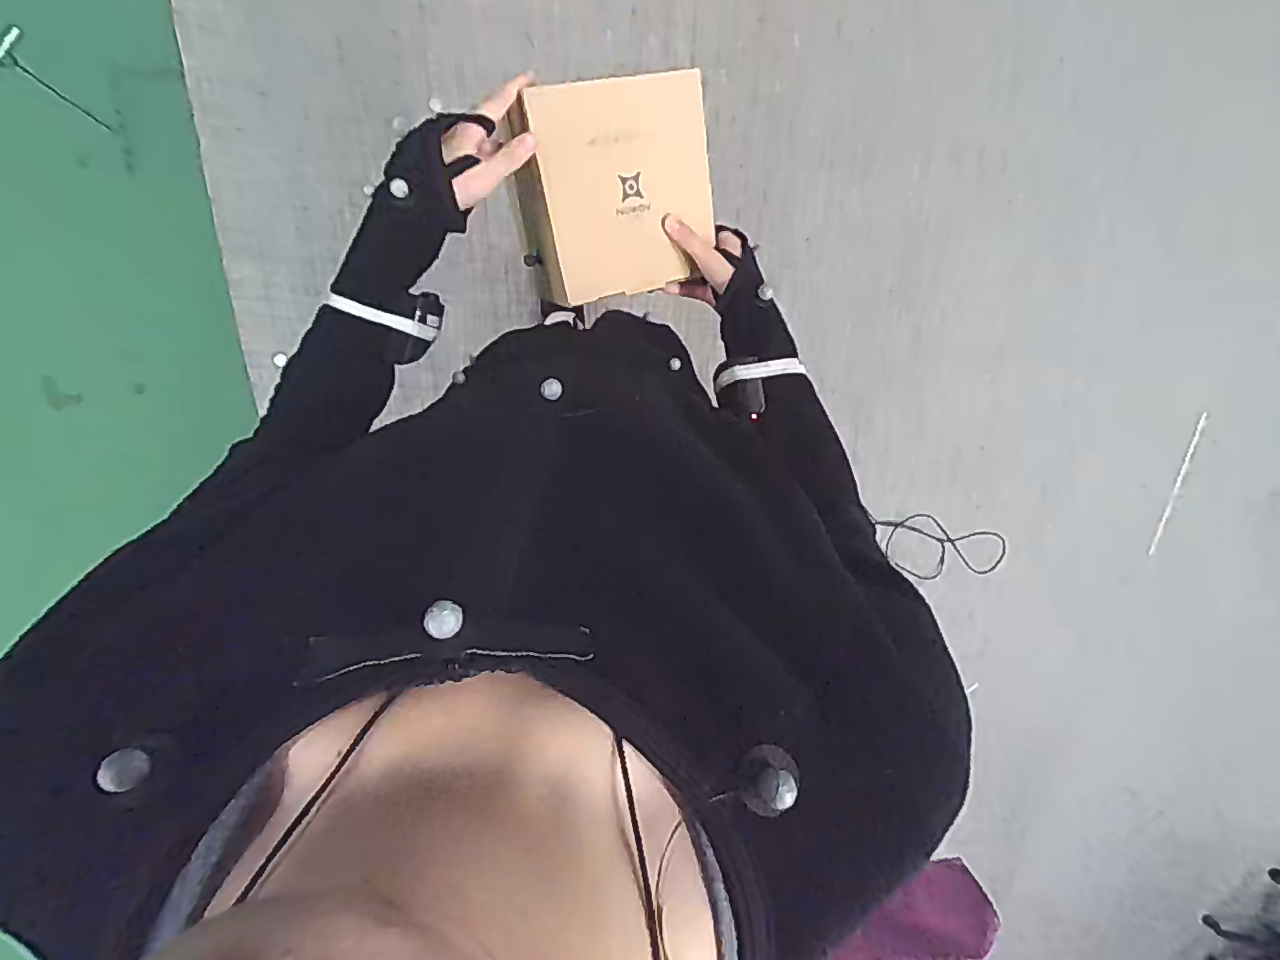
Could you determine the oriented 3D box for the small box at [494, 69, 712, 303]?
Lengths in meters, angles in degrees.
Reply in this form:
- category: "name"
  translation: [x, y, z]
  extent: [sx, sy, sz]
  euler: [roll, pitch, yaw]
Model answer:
- category: "small box"
  translation: [-0.041, -0.295, 0.559]
  extent: [0.168, 0.176, 0.179]
  euler: [-17, 117, -17]
